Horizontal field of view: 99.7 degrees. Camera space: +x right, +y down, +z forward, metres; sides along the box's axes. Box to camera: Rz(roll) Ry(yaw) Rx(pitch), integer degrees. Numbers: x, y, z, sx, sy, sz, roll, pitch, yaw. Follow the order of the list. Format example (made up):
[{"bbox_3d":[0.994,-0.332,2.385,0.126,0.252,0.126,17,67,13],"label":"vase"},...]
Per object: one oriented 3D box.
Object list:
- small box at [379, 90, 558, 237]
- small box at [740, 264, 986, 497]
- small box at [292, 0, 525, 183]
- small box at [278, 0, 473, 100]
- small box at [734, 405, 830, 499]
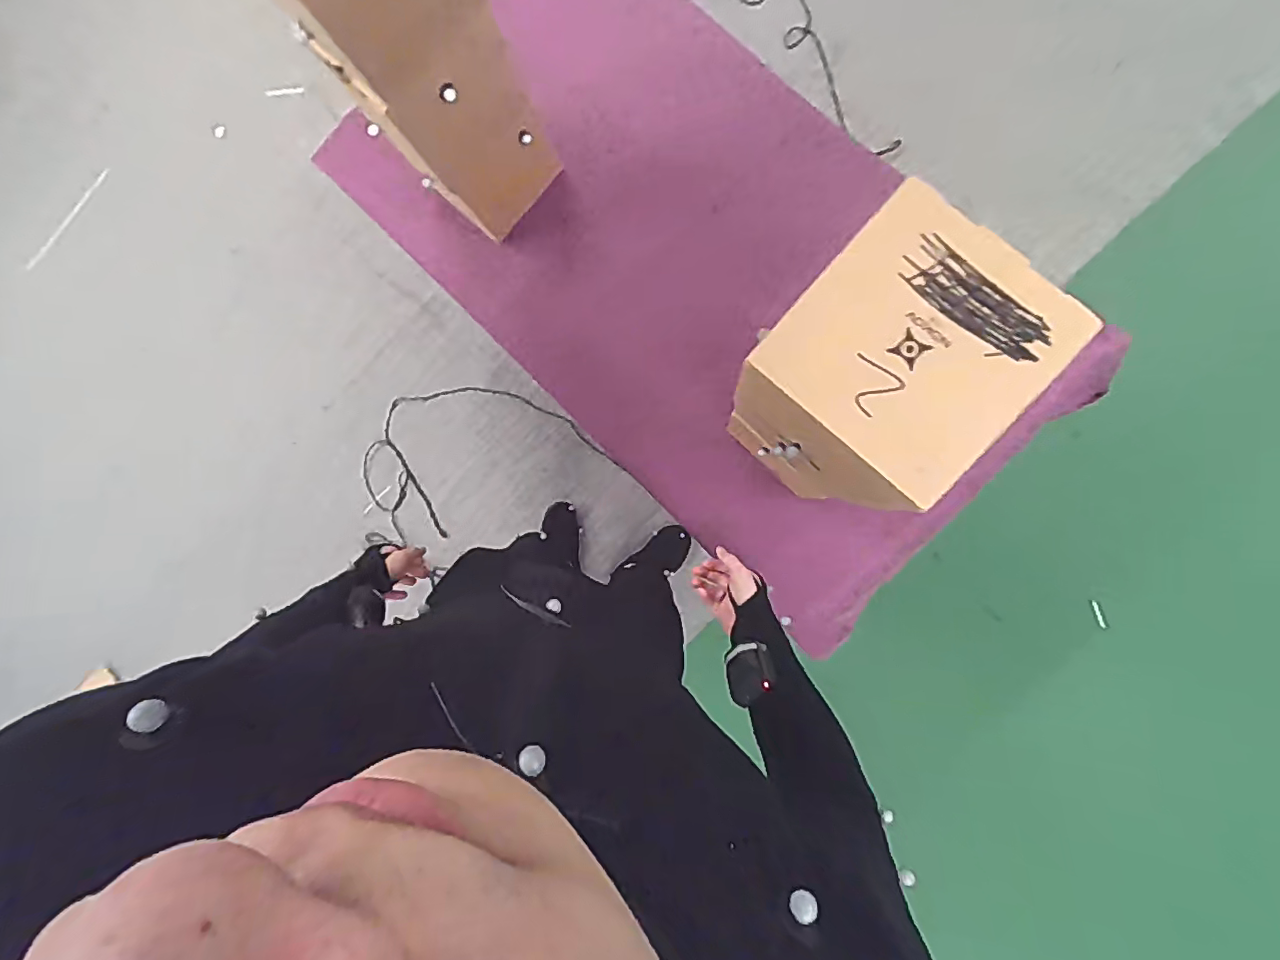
[{"bbox_3d":[-0.255,-0.525,0.850,0.168,0.176,0.179,43,94,6],"label":"small box"},{"bbox_3d":[0.229,-0.096,0.612,0.179,0.176,0.168,-45,84,4],"label":"small box"},{"bbox_3d":[-0.276,-0.527,0.686,0.168,0.176,0.179,43,93,6],"label":"small box"},{"bbox_3d":[-0.288,-0.535,0.524,0.168,0.176,0.179,44,94,6],"label":"small box"},{"bbox_3d":[0.249,-0.090,0.777,0.168,0.176,0.179,44,93,7],"label":"small box"}]
